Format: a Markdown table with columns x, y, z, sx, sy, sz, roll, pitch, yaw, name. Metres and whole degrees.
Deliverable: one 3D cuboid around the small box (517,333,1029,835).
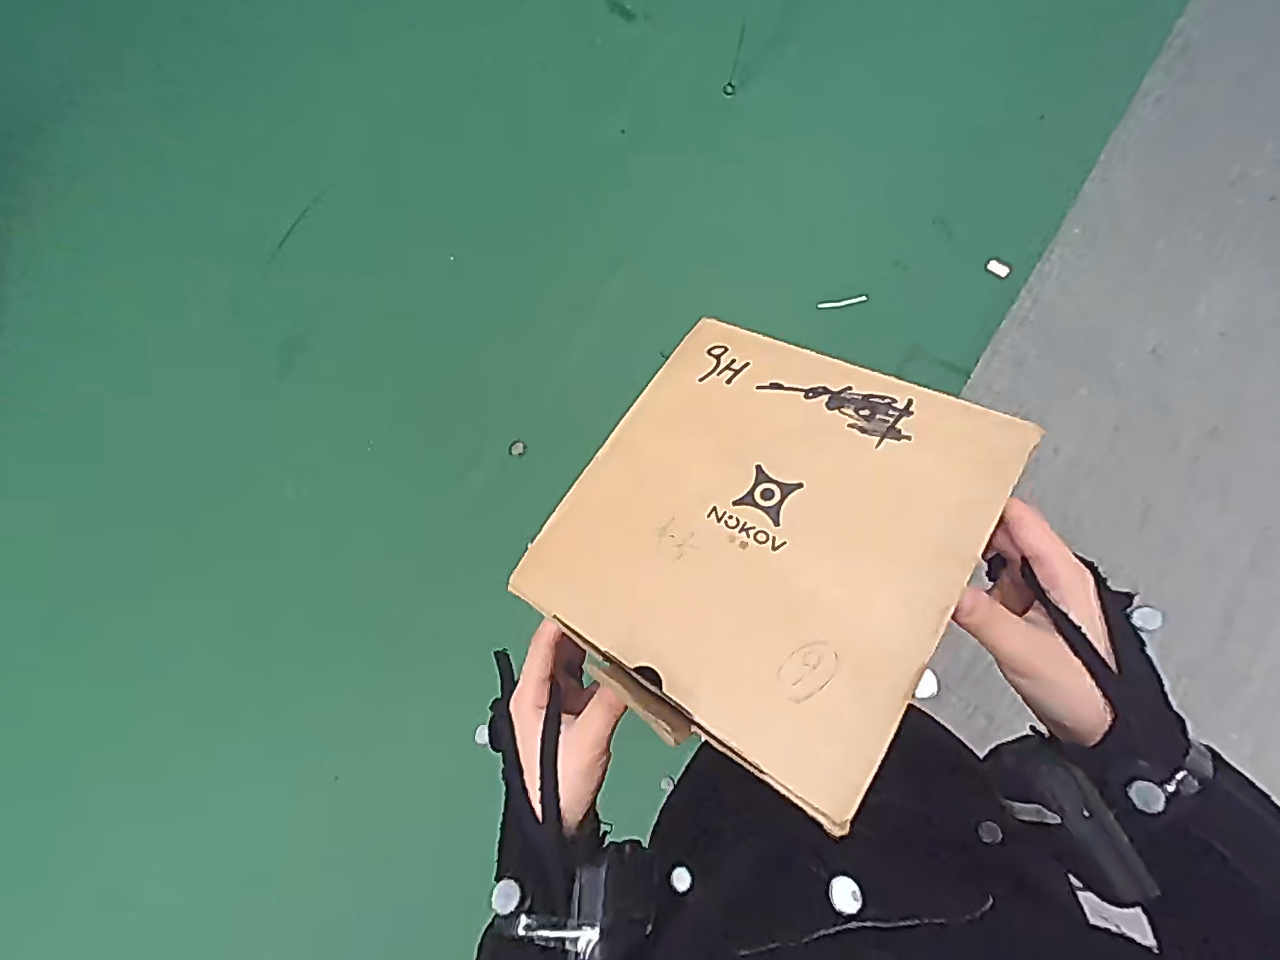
| x | y | z | sx | sy | sz | roll | pitch | yaw | name |
| --- | --- | --- | --- | --- | --- | --- | --- | --- | --- |
| 0.072 | 0.056 | 0.308 | 0.168 | 0.176 | 0.179 | 28 | 74 | 27 | small box |
